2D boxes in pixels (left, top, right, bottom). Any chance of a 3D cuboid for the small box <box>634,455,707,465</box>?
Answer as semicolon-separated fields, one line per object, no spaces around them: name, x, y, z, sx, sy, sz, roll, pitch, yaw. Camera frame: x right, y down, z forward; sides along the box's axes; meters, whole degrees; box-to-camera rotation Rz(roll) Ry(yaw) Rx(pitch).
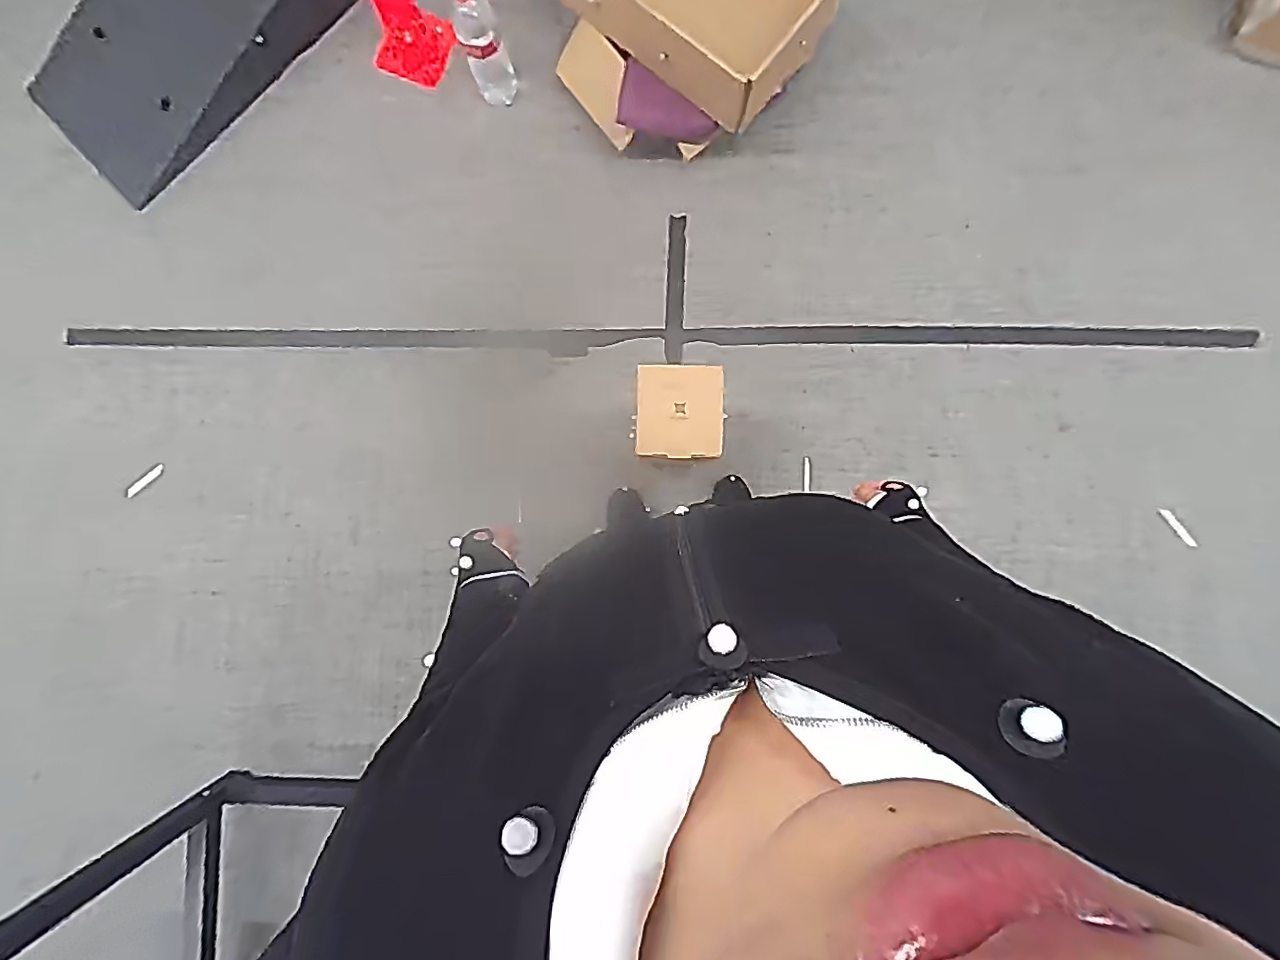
small box;0.071;-0.129;1.269;0.168;0.176;0.179;2;90;1

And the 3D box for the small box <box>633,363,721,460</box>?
small box;0.071;-0.133;1.106;0.168;0.176;0.179;1;89;0
